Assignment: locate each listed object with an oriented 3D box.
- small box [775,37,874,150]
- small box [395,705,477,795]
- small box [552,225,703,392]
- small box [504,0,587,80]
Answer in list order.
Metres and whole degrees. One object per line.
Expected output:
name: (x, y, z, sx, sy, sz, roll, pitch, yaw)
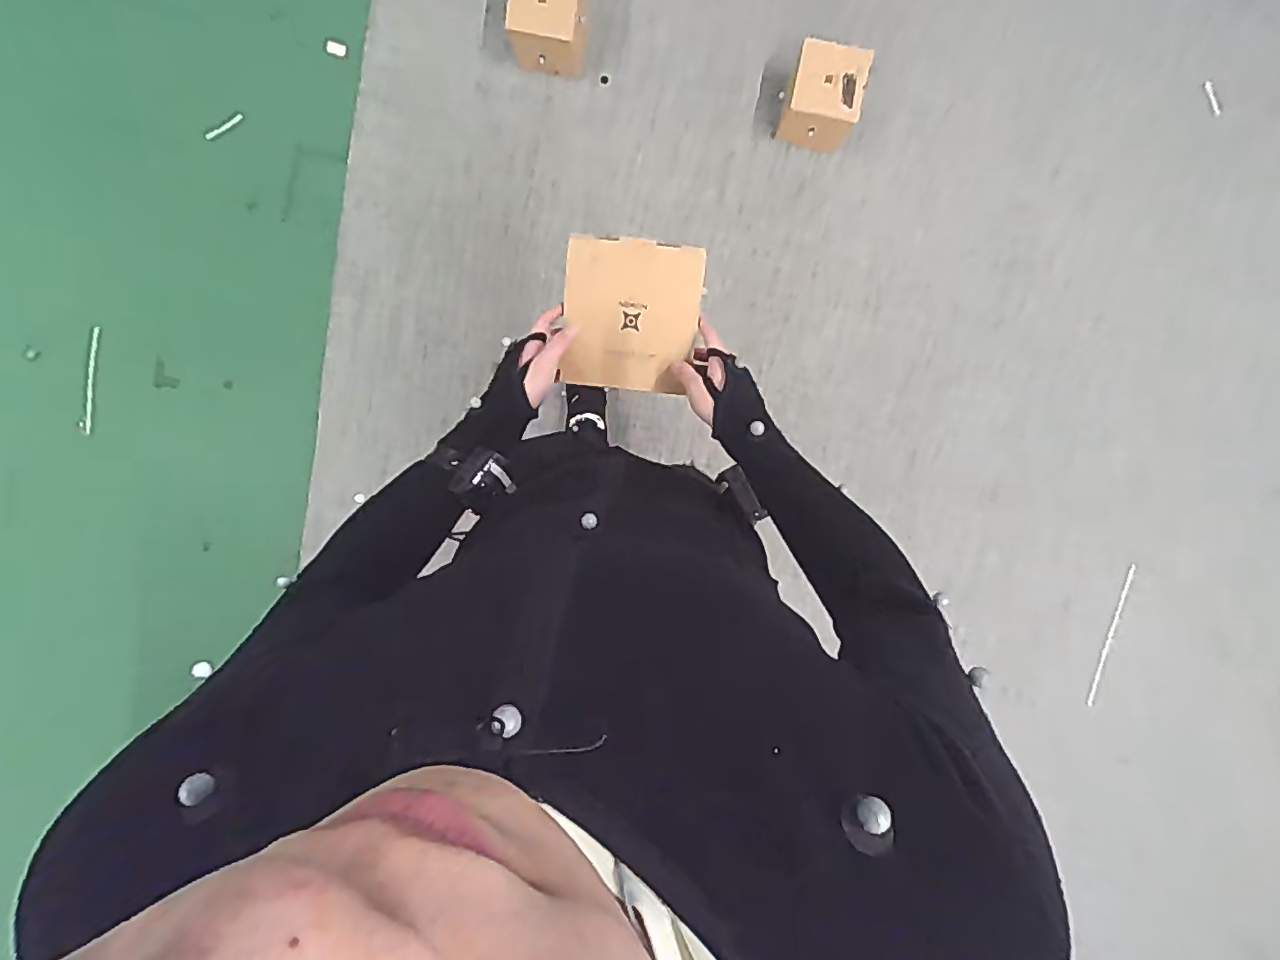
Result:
small box: (0.466, -0.980, 1.390, 0.179, 0.176, 0.168, 11, 97, -1)
small box: (-0.609, 0.810, 1.638, 0.179, 0.176, 0.168, 13, 97, -2)
small box: (-0.018, -0.222, 0.718, 0.168, 0.176, 0.179, 6, 106, -1)
small box: (-0.231, -1.158, 1.363, 0.168, 0.176, 0.179, 10, 98, -2)
